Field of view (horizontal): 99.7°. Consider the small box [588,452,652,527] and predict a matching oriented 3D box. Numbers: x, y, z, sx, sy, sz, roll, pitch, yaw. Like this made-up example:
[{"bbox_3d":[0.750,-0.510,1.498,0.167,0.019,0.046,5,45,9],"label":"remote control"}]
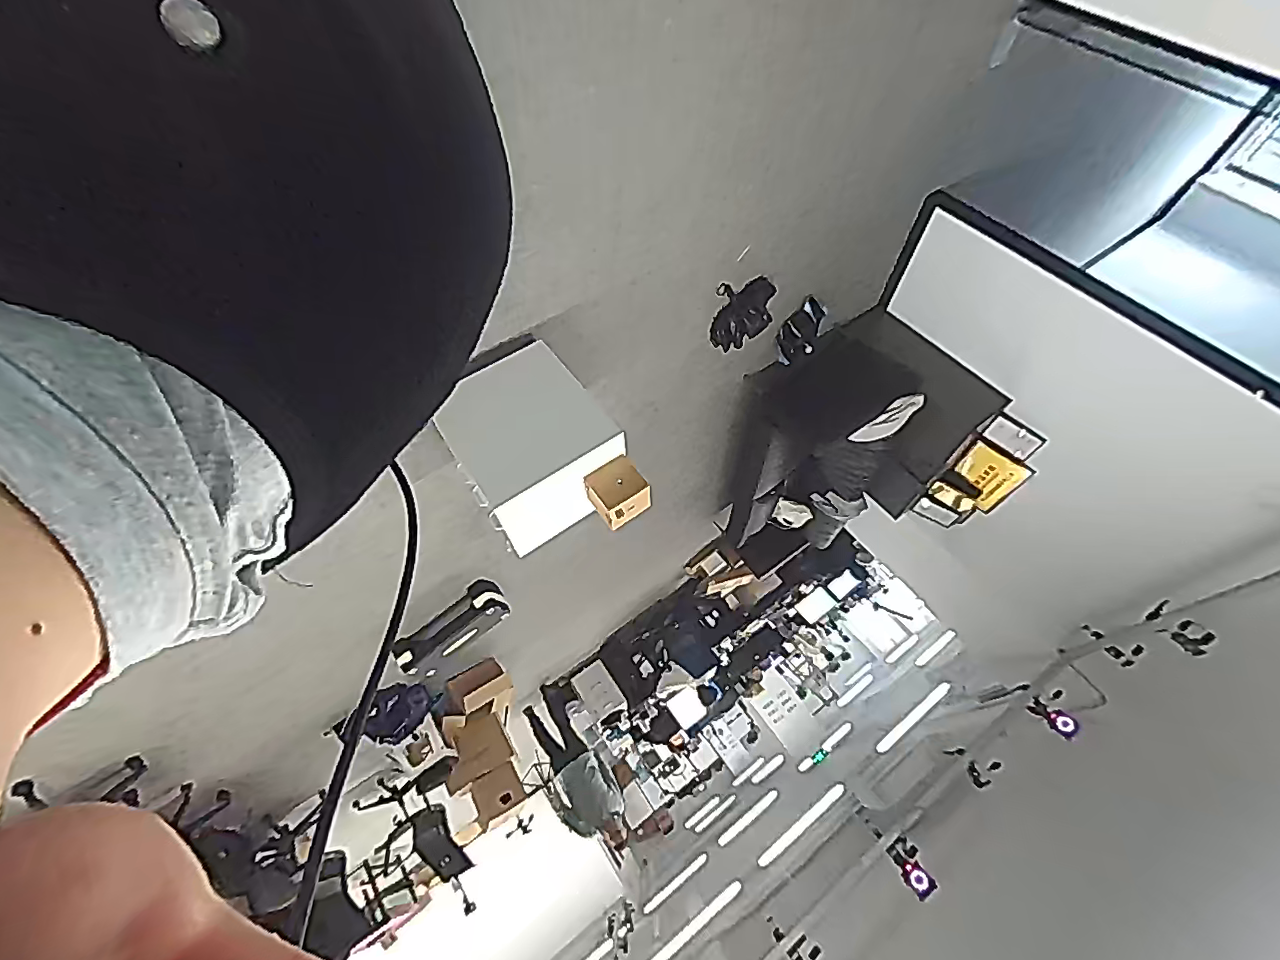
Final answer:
[{"bbox_3d":[-0.076,0.032,1.965,0.179,0.176,0.168,-33,155,-15],"label":"small box"}]
